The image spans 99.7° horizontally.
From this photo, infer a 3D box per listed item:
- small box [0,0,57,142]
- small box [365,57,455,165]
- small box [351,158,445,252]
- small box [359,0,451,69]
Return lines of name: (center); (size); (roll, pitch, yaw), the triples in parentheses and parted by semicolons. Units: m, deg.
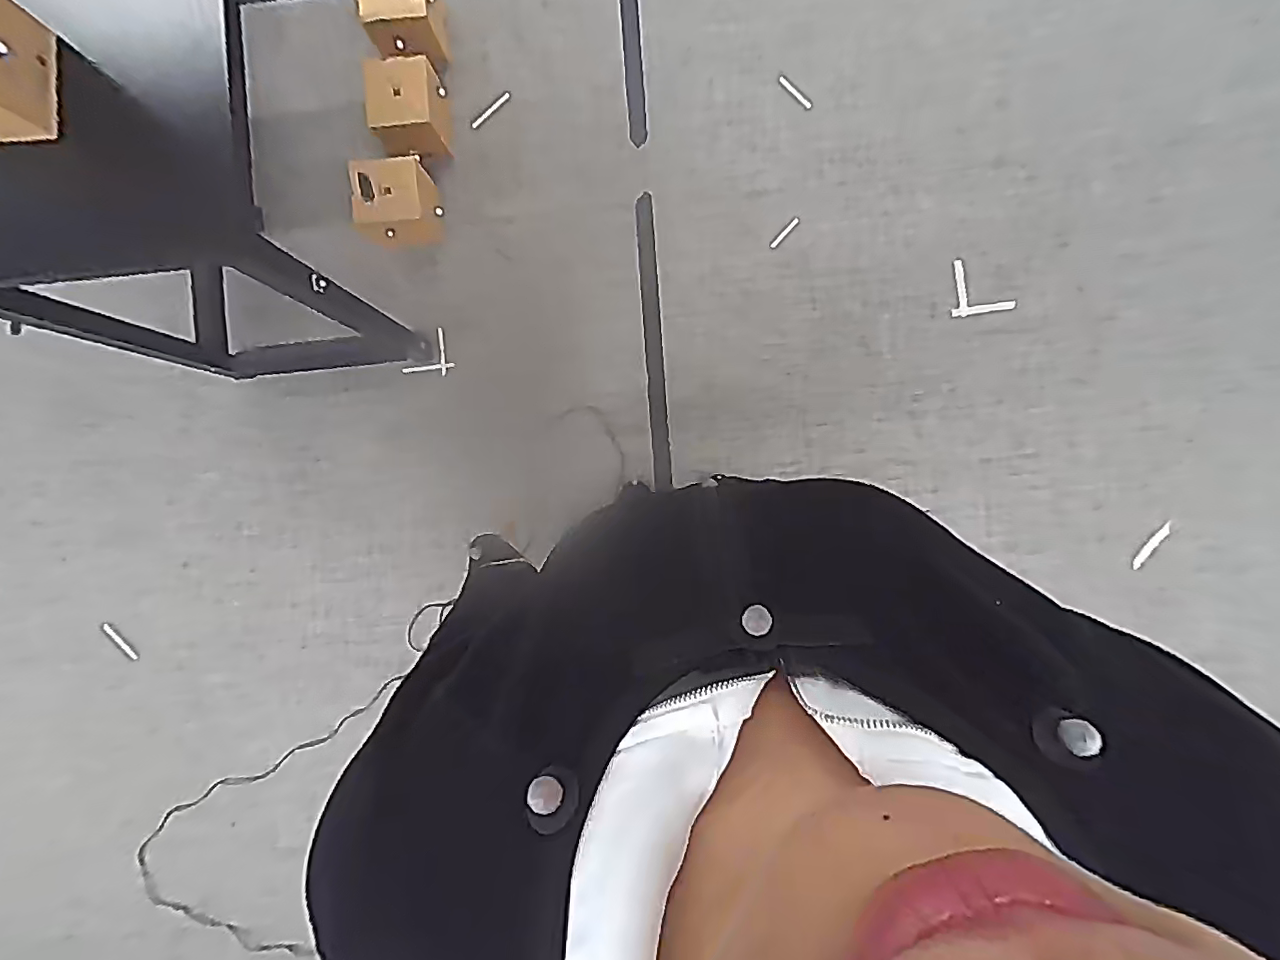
small box: (-0.970, -0.597, 0.745); (0.179, 0.176, 0.168); (-2, 89, 2)
small box: (-0.617, -0.992, 1.467); (0.168, 0.176, 0.179); (-6, 90, 3)
small box: (-0.650, -0.736, 1.465); (0.179, 0.176, 0.168); (-6, 90, 1)
small box: (-0.635, -1.254, 1.469); (0.179, 0.176, 0.168); (-6, 90, 3)
